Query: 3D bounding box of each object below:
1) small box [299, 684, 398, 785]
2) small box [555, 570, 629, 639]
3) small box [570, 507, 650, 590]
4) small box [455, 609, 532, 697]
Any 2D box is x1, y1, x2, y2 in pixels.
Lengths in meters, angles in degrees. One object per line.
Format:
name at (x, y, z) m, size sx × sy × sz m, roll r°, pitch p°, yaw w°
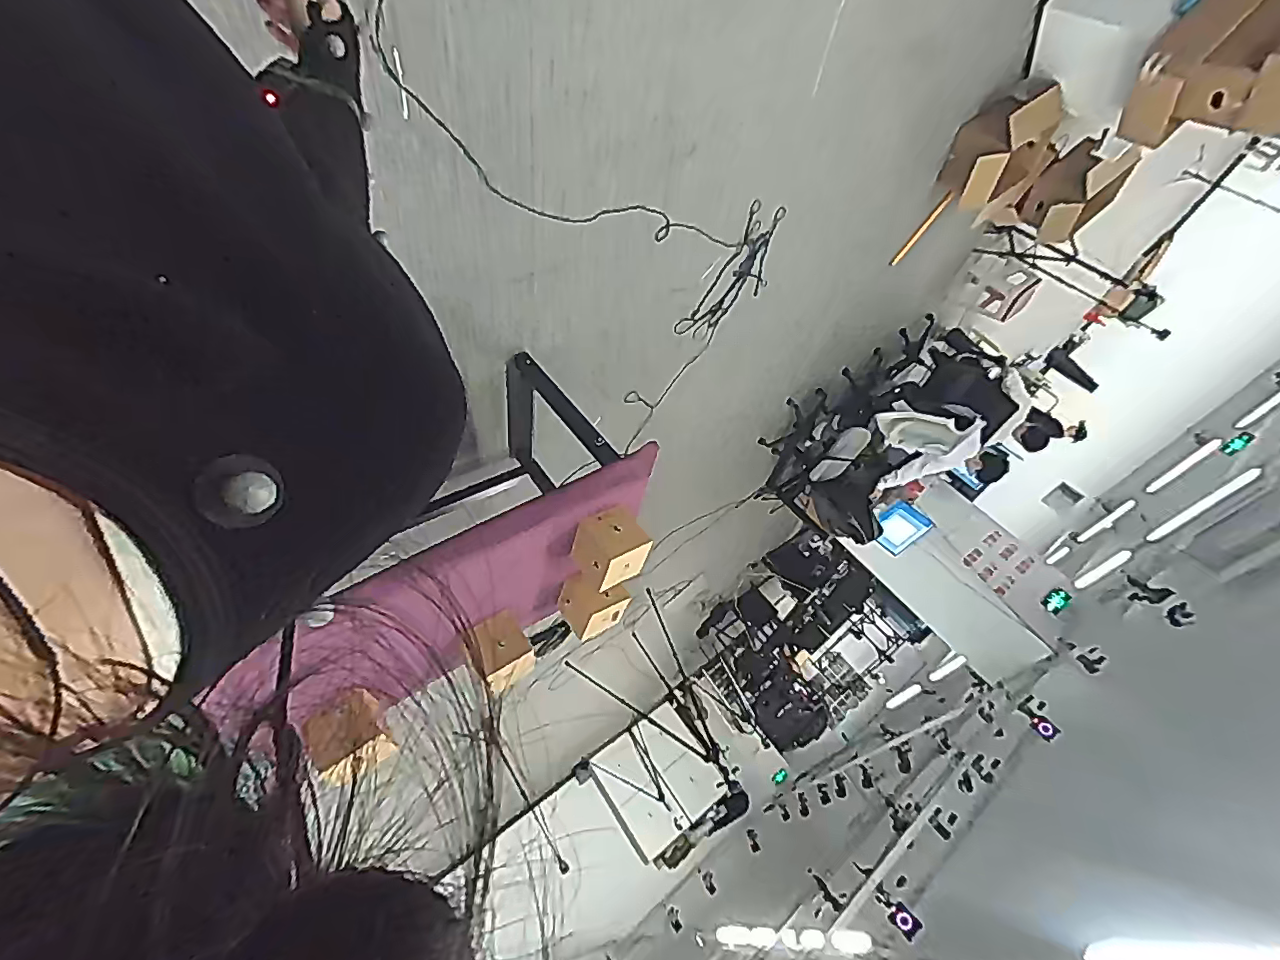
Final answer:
small box at (-0.794, 0.692, 1.479) m, size 0.168 × 0.176 × 0.179 m, roll -30°, pitch 150°, yaw -26°
small box at (-0.174, 0.421, 1.913) m, size 0.179 × 0.176 × 0.168 m, roll -16°, pitch 143°, yaw -39°
small box at (-0.099, 0.206, 1.689) m, size 0.168 × 0.176 × 0.179 m, roll -20°, pitch 147°, yaw -36°
small box at (-0.459, 0.540, 1.708) m, size 0.179 × 0.176 × 0.168 m, roll -27°, pitch 148°, yaw -30°
